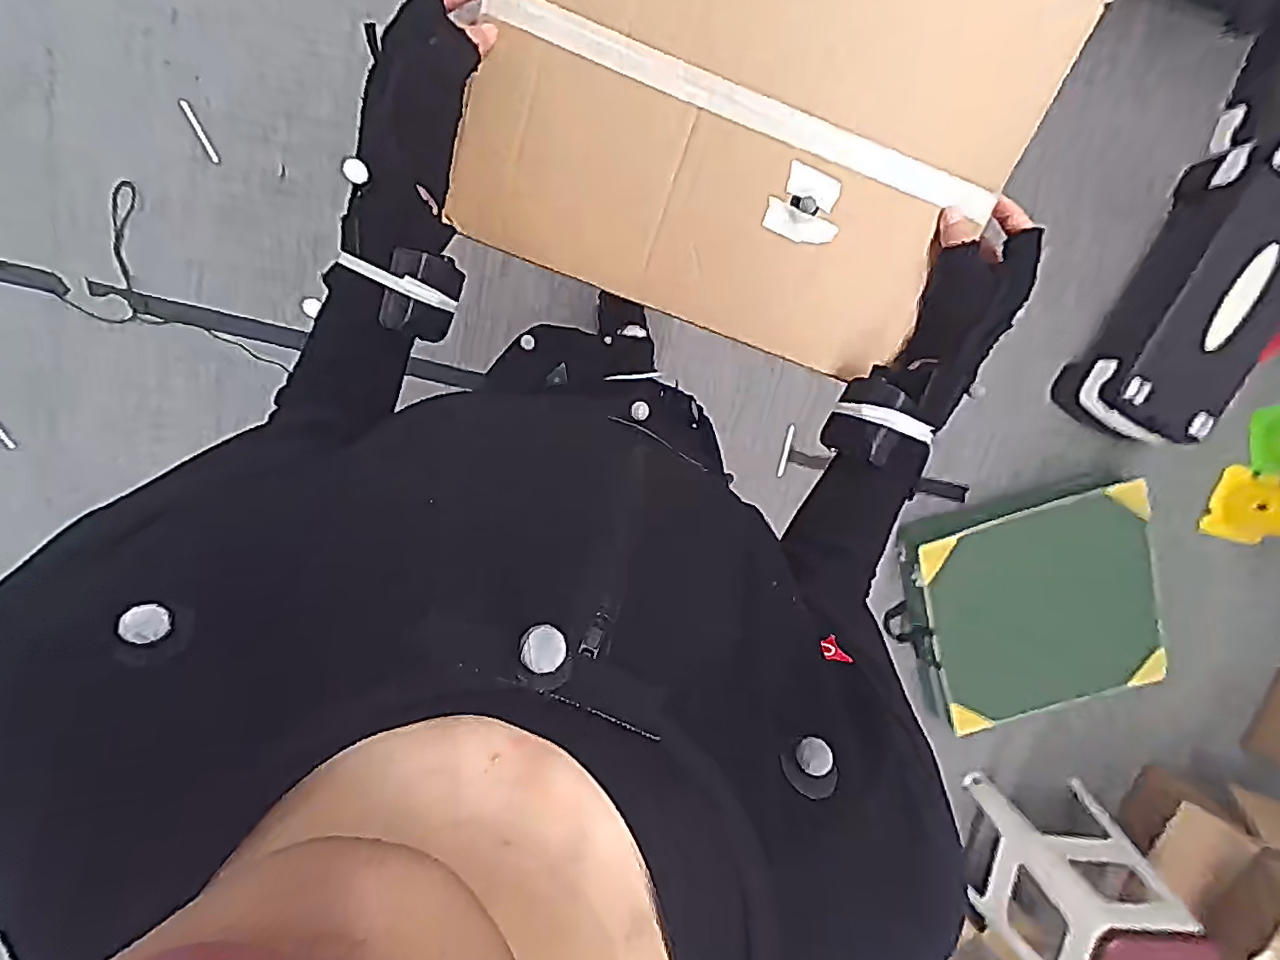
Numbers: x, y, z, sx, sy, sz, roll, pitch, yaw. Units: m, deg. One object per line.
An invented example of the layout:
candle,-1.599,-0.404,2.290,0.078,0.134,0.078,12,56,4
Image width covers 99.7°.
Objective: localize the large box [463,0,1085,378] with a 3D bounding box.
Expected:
large box,0.087,-0.341,0.553,0.408,0.320,0.320,19,113,-7
